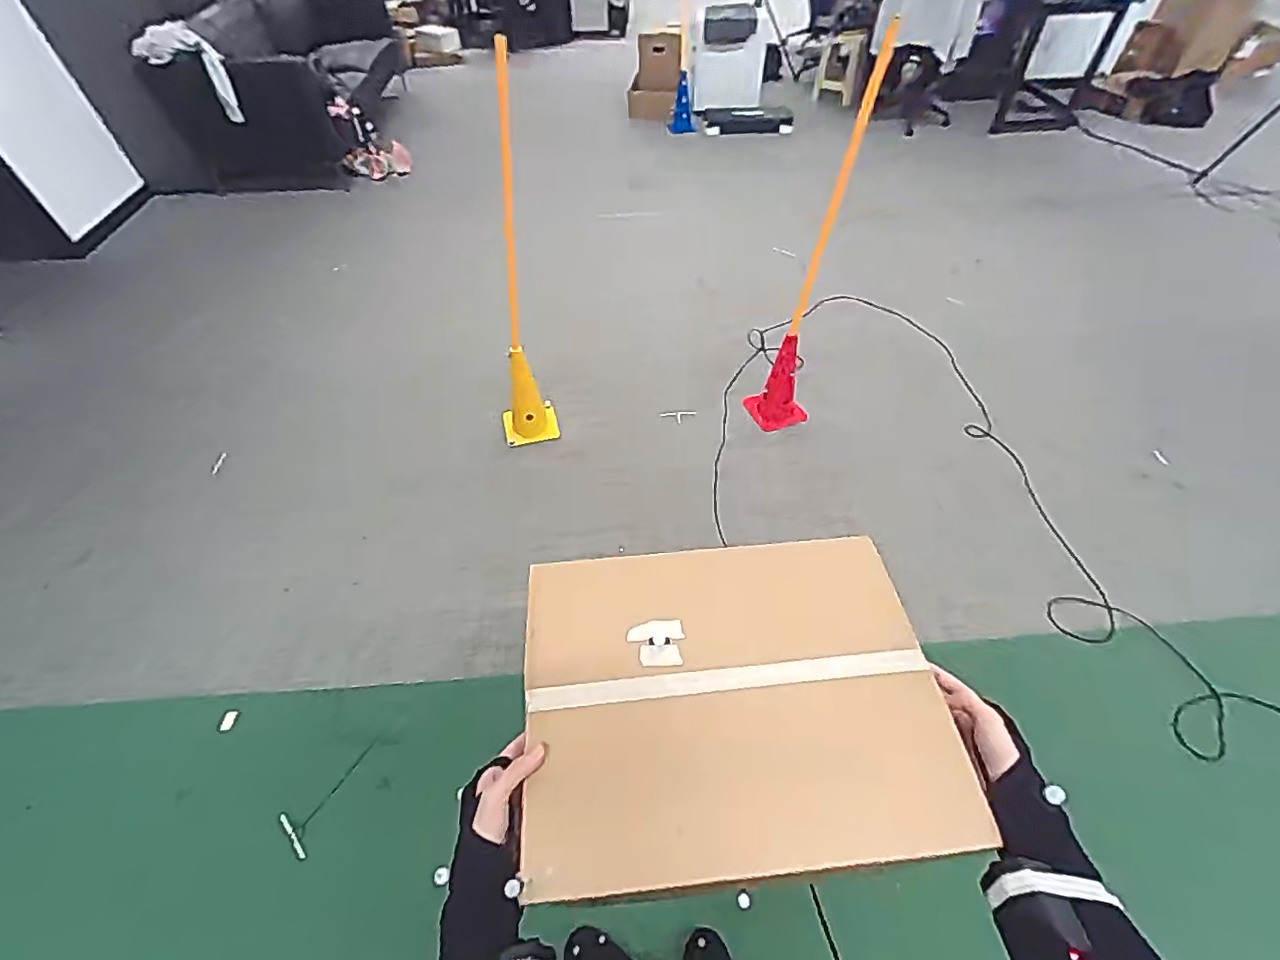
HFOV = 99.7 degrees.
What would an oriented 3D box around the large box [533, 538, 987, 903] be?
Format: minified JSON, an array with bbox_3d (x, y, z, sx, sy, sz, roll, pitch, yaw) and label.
[{"bbox_3d":[0.098,0.301,0.667,0.408,0.320,0.320,-6,50,-2],"label":"large box"}]
